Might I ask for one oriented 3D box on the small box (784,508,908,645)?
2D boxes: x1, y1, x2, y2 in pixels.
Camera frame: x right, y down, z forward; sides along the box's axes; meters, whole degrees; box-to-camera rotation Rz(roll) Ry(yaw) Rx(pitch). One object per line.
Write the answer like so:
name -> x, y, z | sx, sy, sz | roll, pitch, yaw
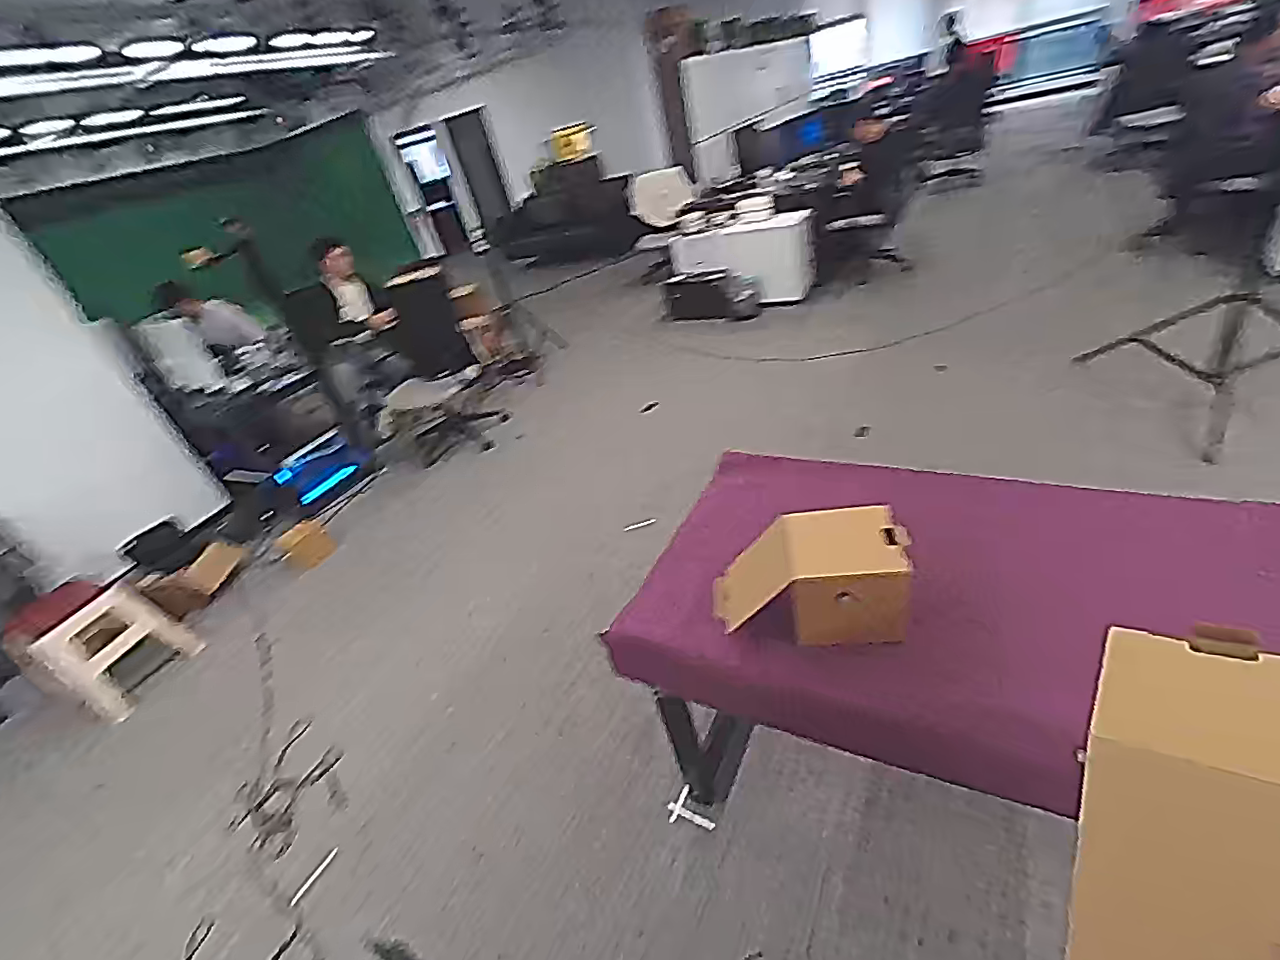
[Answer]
small box -> 0.353, 0.171, 0.941 | 0.179, 0.176, 0.168 | -6, 35, 13
